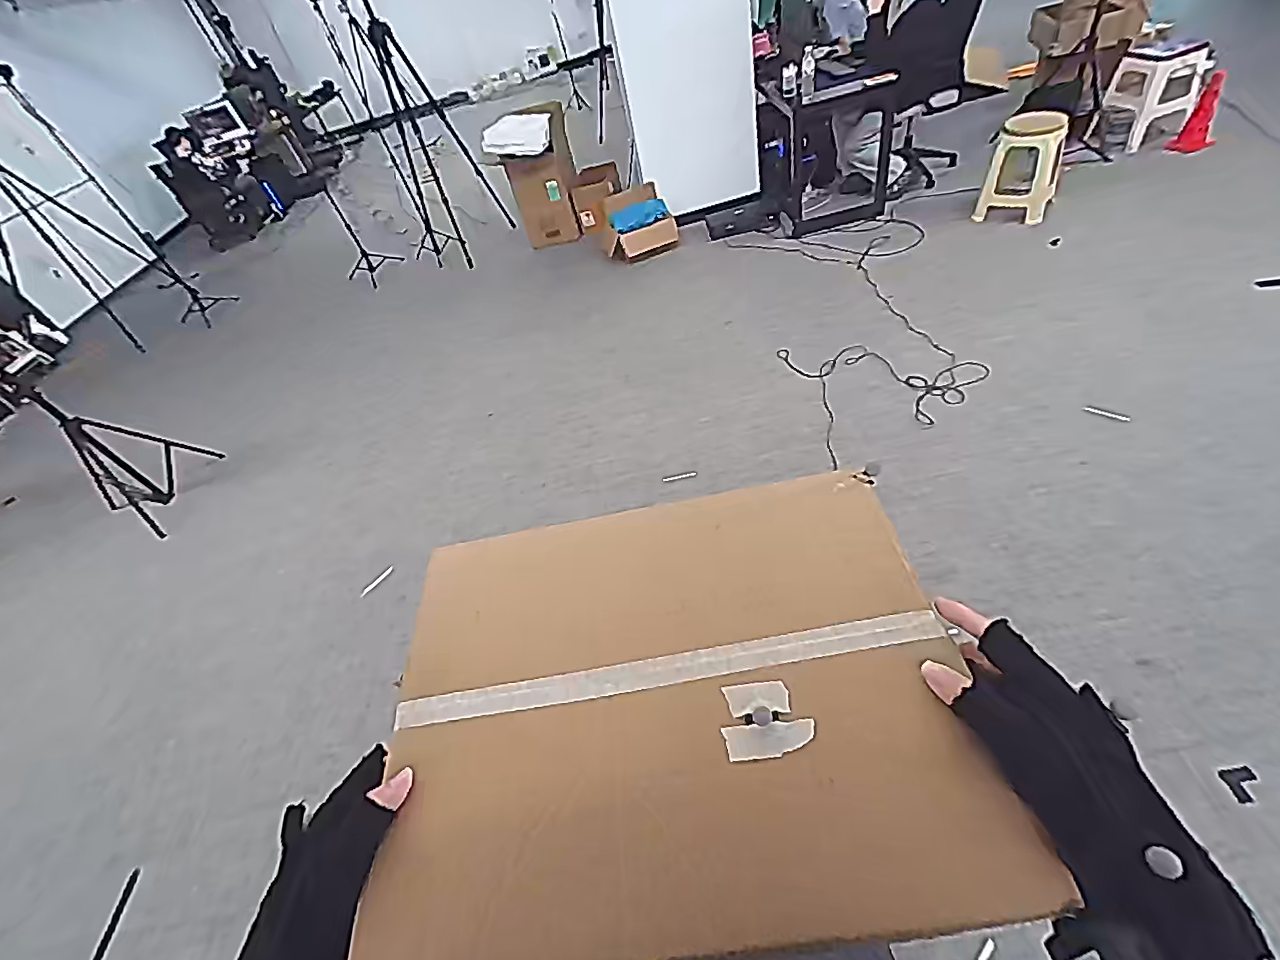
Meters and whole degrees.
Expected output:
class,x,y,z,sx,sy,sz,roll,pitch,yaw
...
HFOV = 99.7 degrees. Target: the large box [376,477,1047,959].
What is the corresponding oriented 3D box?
class,x,y,z,sx,sy,sz,roll,pitch,yaw
large box,0.045,0.244,0.518,0.408,0.320,0.320,-11,48,4
